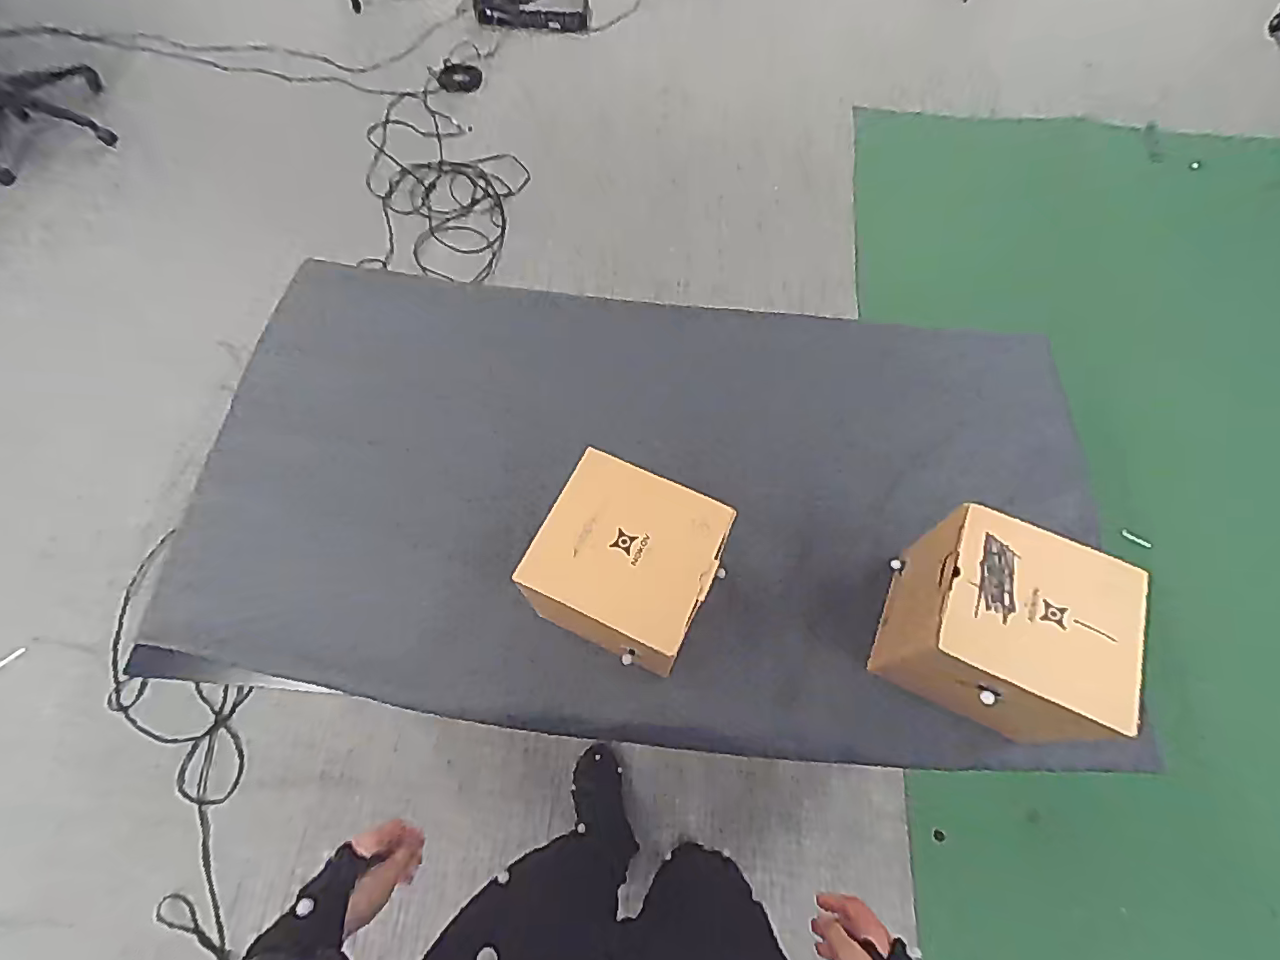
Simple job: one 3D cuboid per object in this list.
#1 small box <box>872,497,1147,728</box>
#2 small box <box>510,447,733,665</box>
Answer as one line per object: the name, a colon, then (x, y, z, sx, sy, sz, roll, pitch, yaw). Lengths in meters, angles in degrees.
small box: (0.376, 0.150, 0.578, 0.179, 0.176, 0.168, 24, 67, 11)
small box: (-0.015, 0.095, 0.610, 0.179, 0.176, 0.168, 22, 66, 11)
